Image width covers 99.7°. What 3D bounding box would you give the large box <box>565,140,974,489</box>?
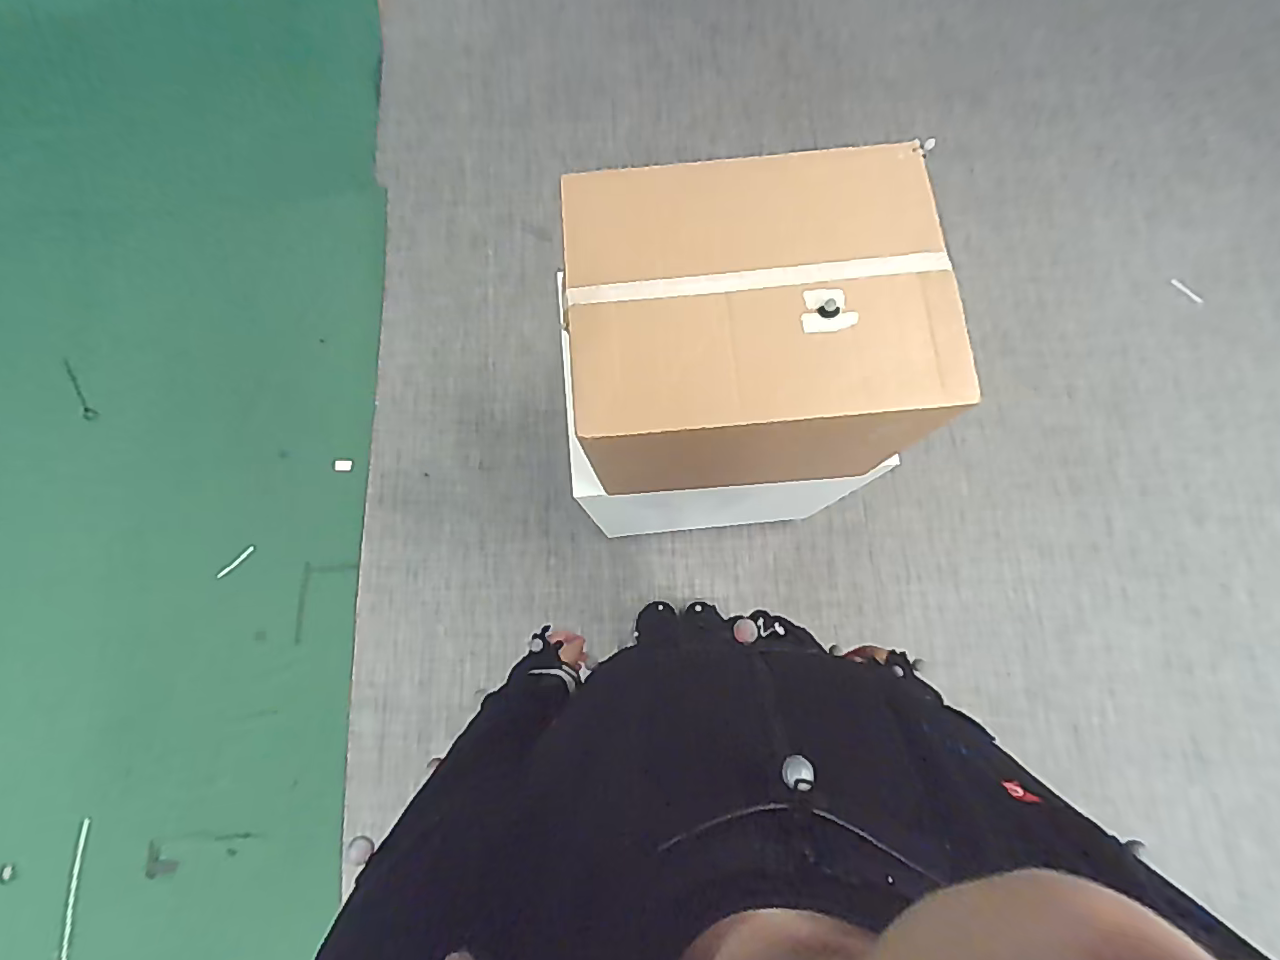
[{"bbox_3d":[0.128,-0.184,0.721,0.408,0.320,0.320,-5,78,0],"label":"large box"}]
